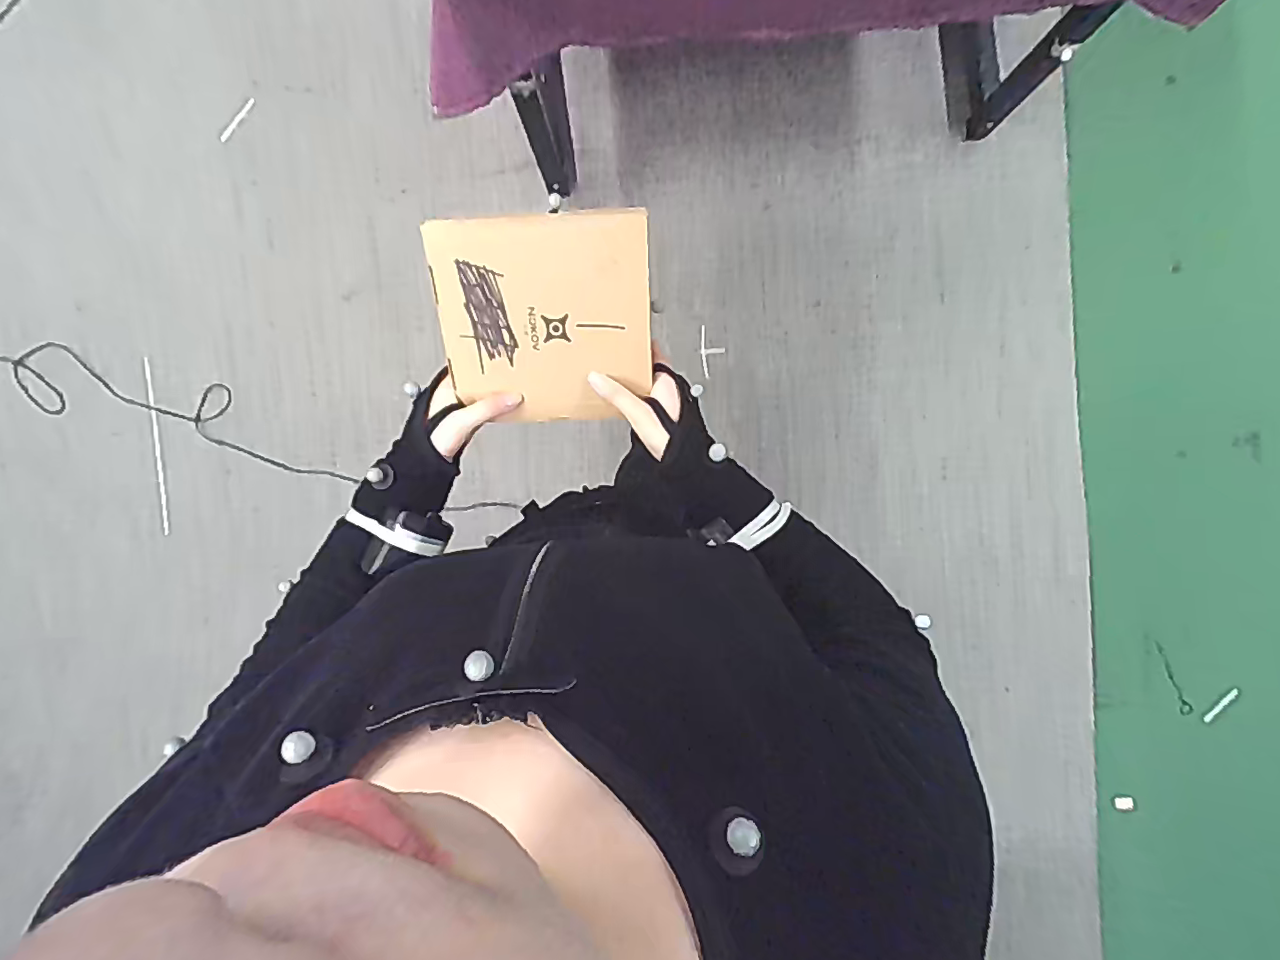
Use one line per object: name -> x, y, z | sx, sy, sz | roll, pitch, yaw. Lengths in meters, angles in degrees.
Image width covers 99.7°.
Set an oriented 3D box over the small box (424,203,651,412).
small box -> -0.078, -0.171, 0.519 | 0.179, 0.176, 0.168 | -2, 118, 0
